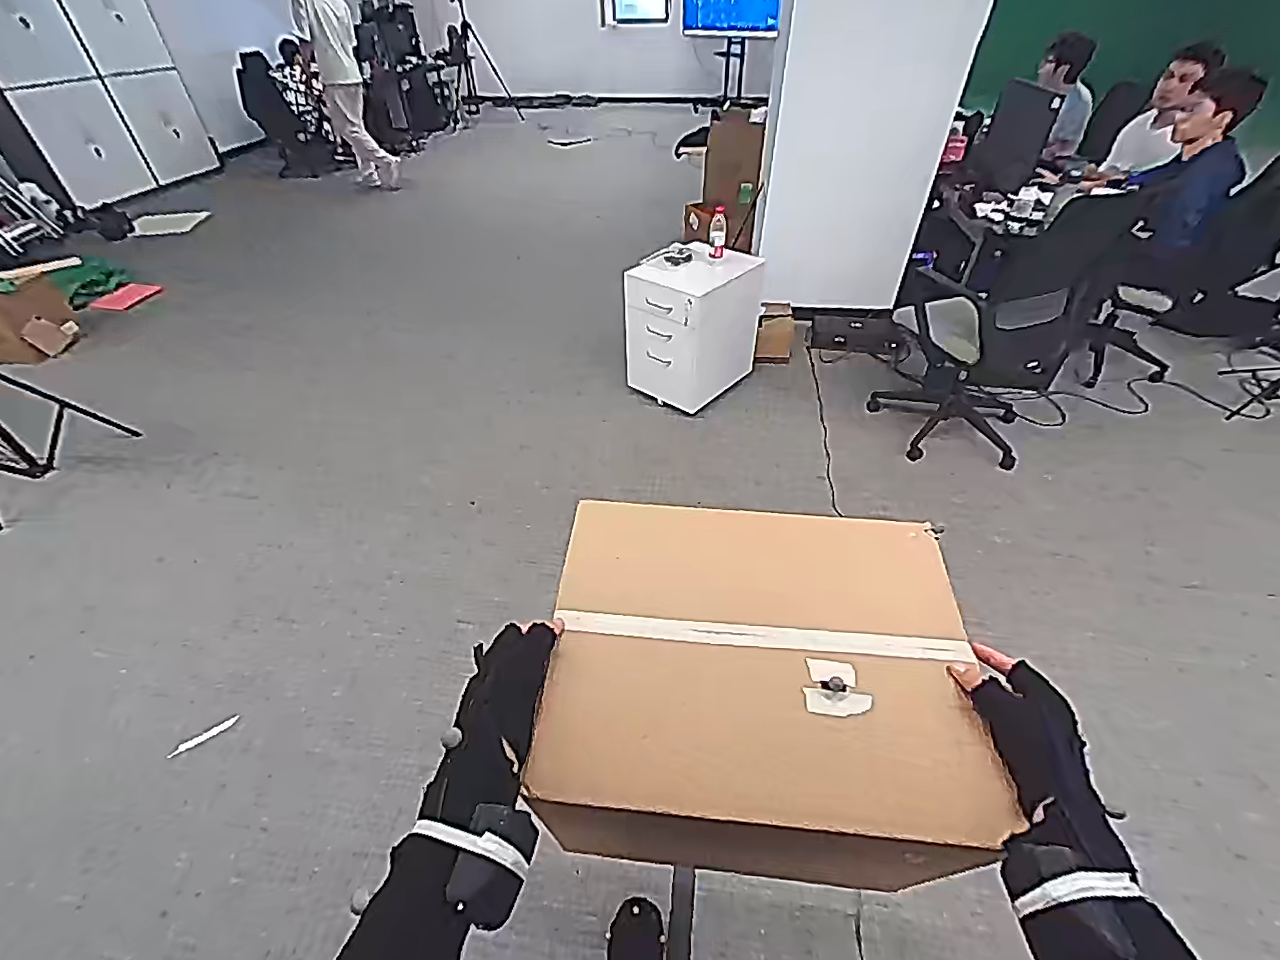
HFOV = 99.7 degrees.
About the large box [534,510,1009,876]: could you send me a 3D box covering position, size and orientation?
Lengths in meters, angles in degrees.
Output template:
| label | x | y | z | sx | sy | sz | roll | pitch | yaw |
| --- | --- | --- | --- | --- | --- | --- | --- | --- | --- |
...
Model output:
| label | x | y | z | sx | sy | sz | roll | pitch | yaw |
| --- | --- | --- | --- | --- | --- | --- | --- | --- | --- |
| large box | 0.117 | 0.259 | 0.657 | 0.408 | 0.320 | 0.320 | 4 | 50 | 4 |
